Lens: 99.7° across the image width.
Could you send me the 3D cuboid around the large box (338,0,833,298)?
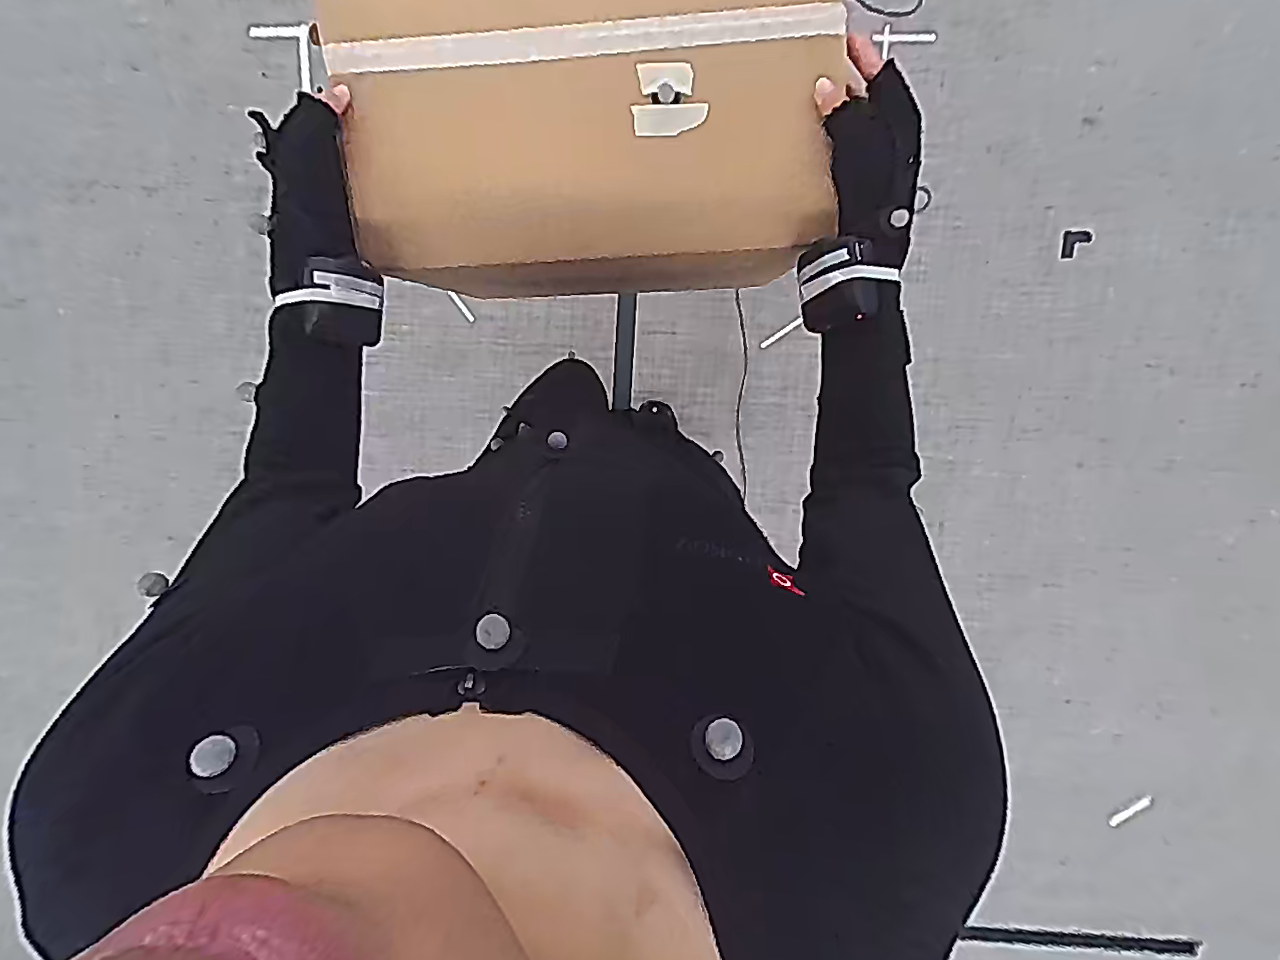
[{"bbox_3d":[-0.041,-0.385,0.583,0.408,0.320,0.320,-3,104,2],"label":"large box"}]
